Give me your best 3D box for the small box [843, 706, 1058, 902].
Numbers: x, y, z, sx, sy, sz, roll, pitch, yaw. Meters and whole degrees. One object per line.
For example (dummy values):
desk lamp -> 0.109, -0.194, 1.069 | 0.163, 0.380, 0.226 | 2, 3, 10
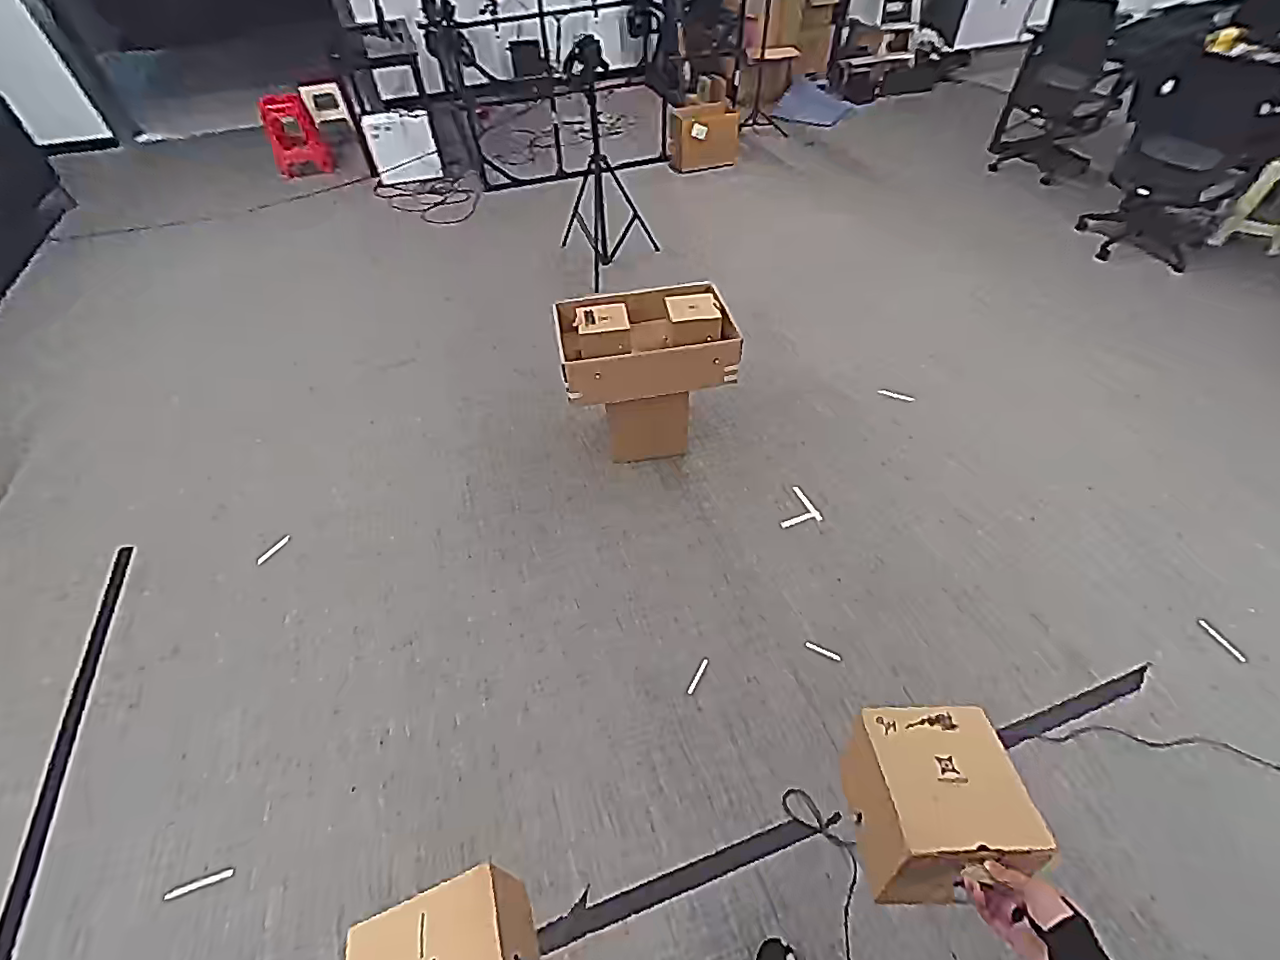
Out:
small box -> 0.379, 0.419, 0.701 | 0.168, 0.176, 0.179 | 0, 36, 2

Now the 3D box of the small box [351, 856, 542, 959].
small box -> -0.209, 0.577, 0.619 | 0.168, 0.176, 0.179 | -20, 45, -11
